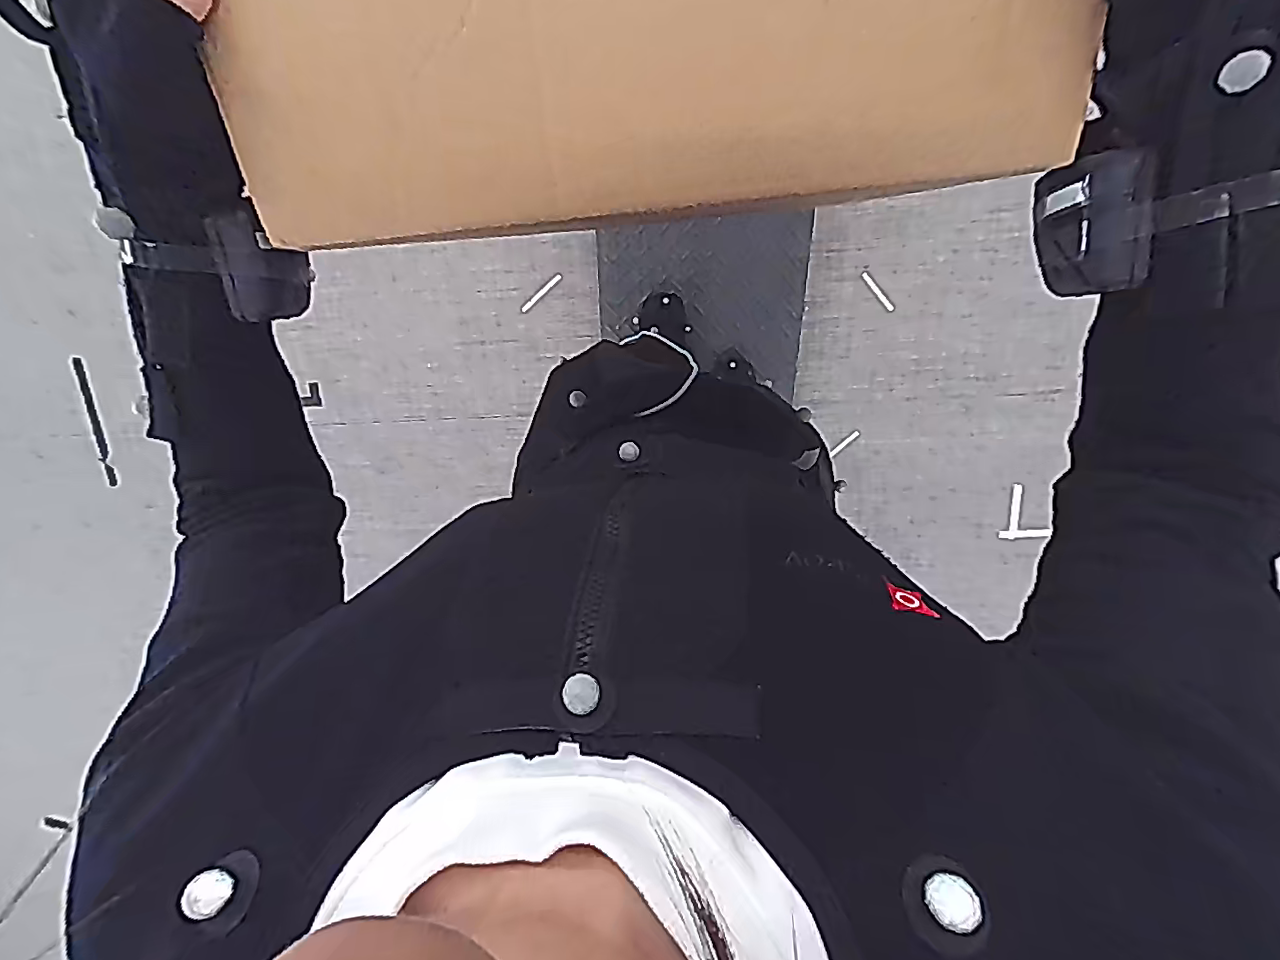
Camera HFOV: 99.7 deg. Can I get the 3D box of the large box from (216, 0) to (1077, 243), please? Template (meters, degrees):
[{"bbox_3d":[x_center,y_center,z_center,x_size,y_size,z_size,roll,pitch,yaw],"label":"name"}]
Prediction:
[{"bbox_3d":[-0.003,-0.349,0.356,0.408,0.320,0.320,-3,115,7],"label":"large box"}]
